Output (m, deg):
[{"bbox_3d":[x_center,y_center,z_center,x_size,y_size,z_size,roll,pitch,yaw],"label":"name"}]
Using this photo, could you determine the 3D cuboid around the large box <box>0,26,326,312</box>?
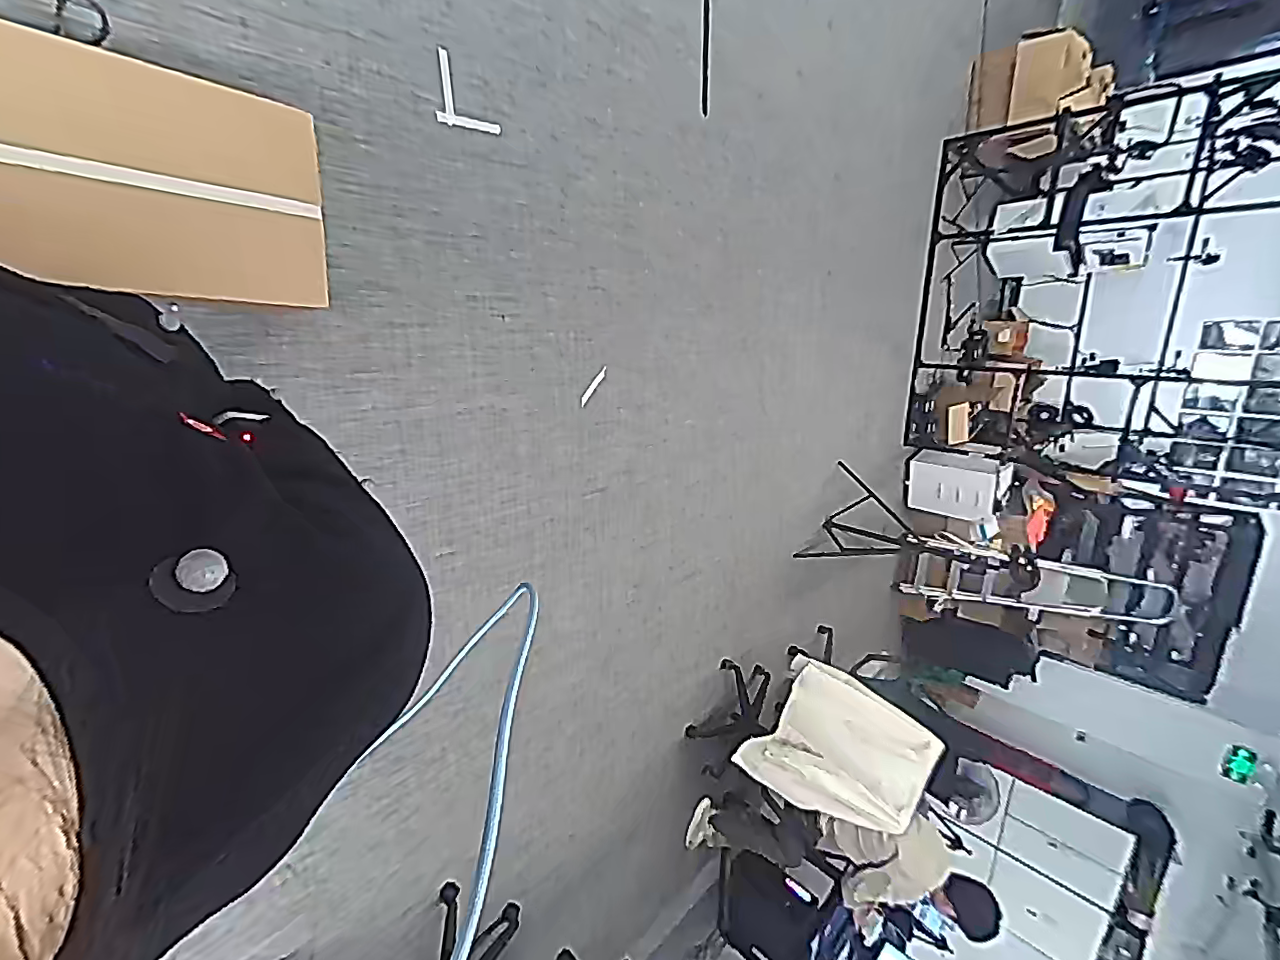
[{"bbox_3d":[-0.800,-0.454,0.891,0.408,0.320,0.320,-11,109,-44],"label":"large box"}]
